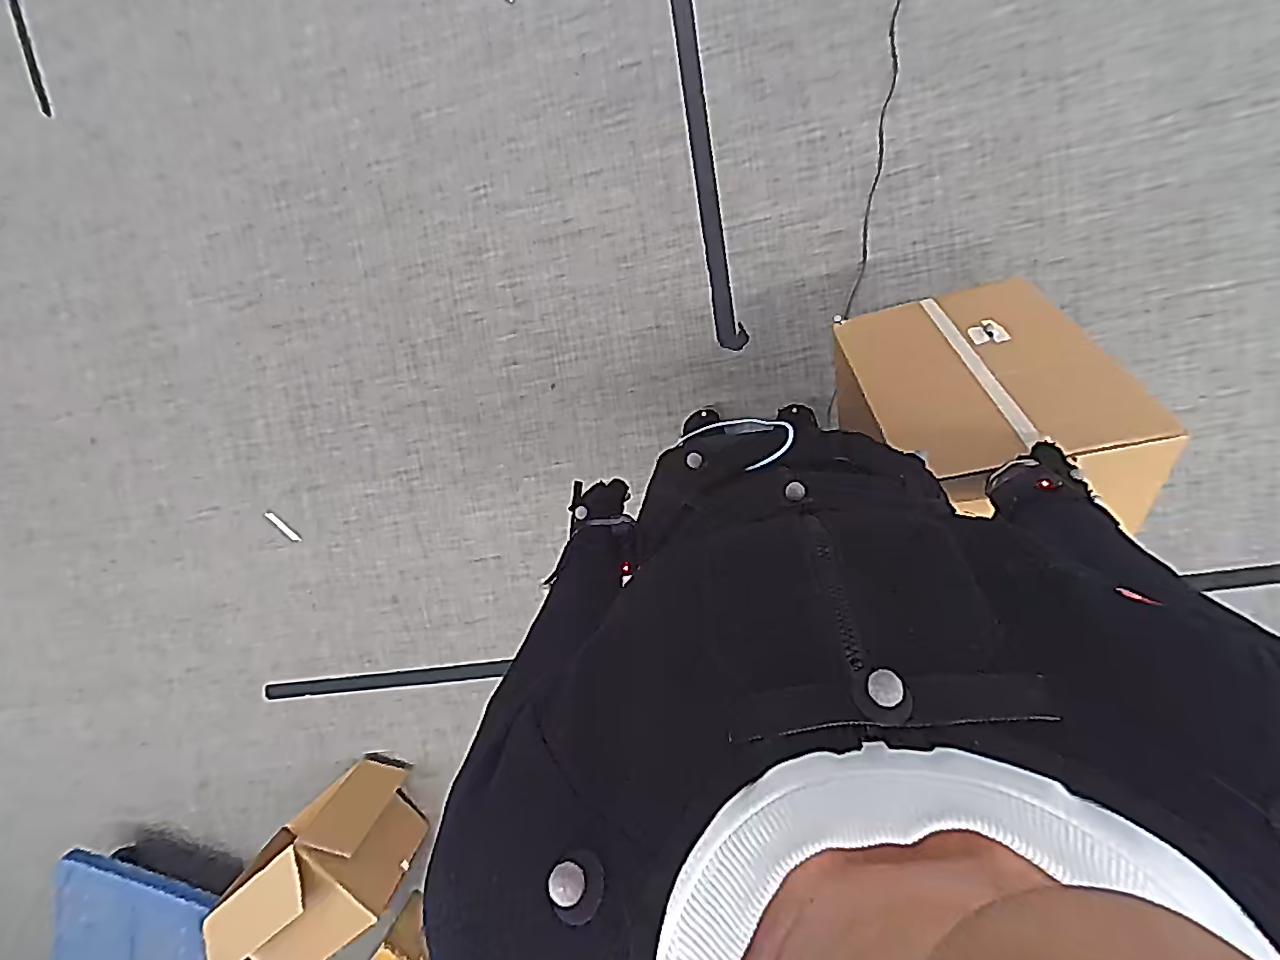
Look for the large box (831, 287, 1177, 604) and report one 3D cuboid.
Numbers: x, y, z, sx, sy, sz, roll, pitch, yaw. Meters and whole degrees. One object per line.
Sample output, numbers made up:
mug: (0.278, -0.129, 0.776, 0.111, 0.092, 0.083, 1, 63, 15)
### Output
large box: (0.538, -0.060, 0.911, 0.320, 0.408, 0.320, -11, 133, 11)
